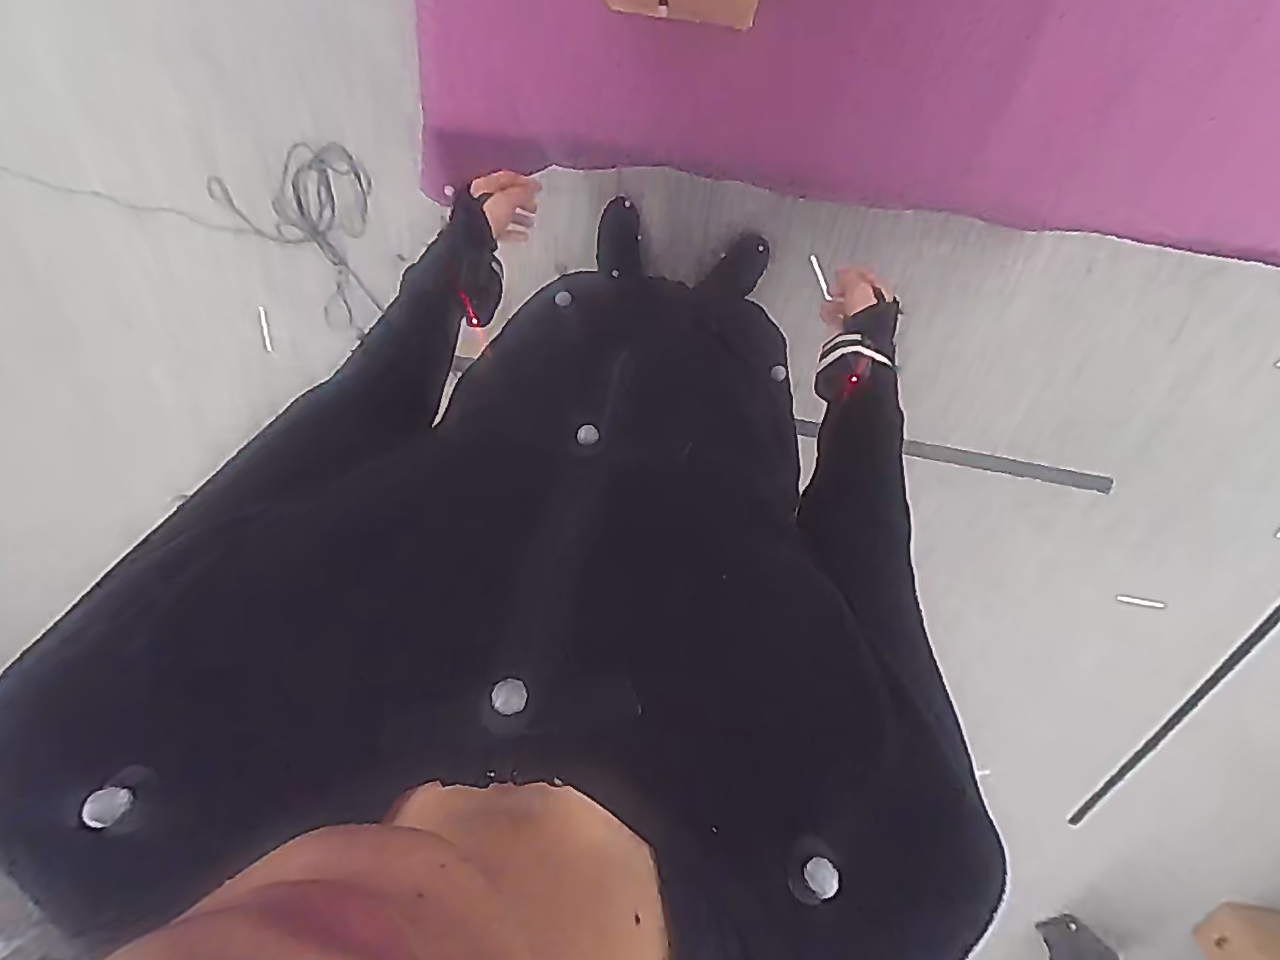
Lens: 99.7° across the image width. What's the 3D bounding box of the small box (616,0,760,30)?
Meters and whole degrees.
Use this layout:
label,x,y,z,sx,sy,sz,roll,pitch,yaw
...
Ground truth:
label,x,y,z,sx,sy,sz,roll,pitch,yaw
small box,0.050,-0.565,0.510,0.168,0.176,0.179,9,120,1
